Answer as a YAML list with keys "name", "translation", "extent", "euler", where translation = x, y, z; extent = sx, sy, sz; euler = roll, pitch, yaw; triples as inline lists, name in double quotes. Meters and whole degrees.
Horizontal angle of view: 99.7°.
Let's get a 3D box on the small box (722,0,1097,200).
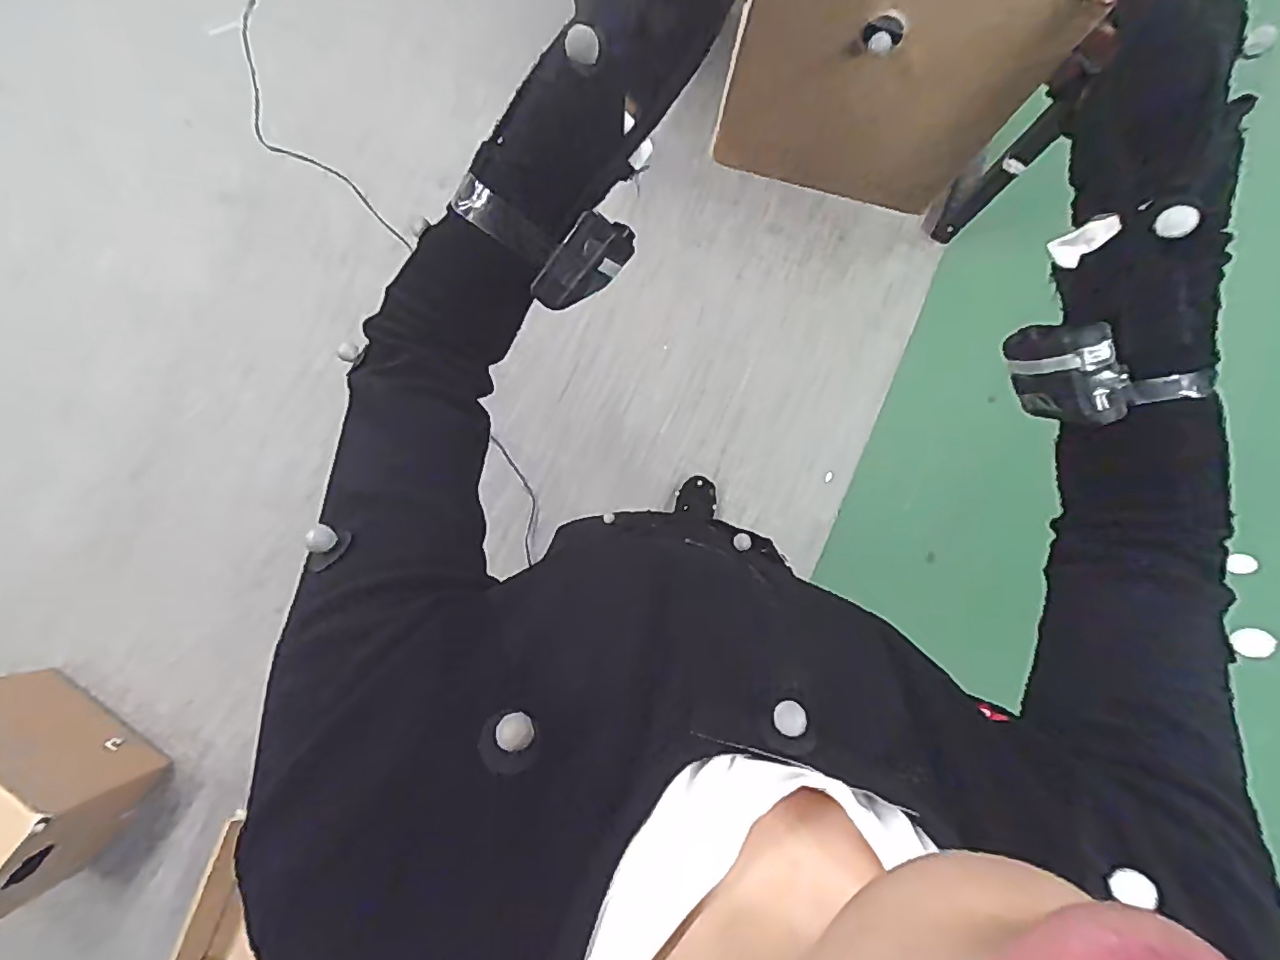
- name: "small box"
  translation: [0.165, -0.325, 0.365]
  extent: [0.179, 0.176, 0.168]
  euler: [13, 80, -2]
